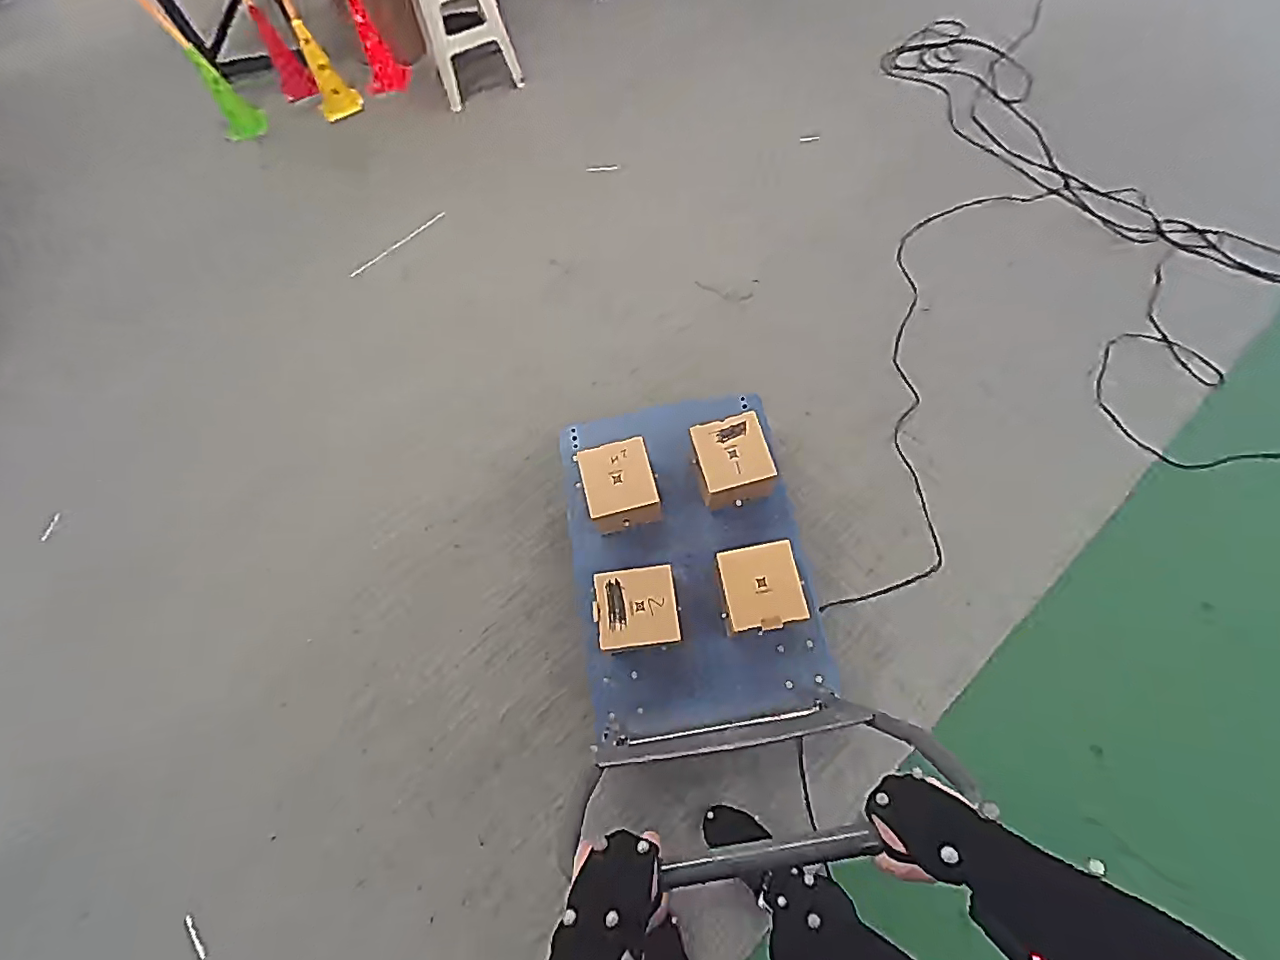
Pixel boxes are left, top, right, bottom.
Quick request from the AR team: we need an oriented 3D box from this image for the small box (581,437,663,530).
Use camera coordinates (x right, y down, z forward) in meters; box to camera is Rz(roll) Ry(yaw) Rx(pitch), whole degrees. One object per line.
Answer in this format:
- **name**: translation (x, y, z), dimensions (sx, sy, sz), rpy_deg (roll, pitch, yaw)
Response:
- **small box**: translation (-0.040, 0.018, 1.346), dimensions (0.168, 0.176, 0.179), rpy_deg (-13, 70, -1)

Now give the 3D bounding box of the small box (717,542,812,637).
- **small box**: translation (0.275, 0.256, 1.240), dimensions (0.168, 0.176, 0.179), rpy_deg (-10, 71, 1)

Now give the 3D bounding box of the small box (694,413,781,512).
- **small box**: translation (0.234, -0.039, 1.345), dimensions (0.168, 0.176, 0.179), rpy_deg (-14, 71, 0)
